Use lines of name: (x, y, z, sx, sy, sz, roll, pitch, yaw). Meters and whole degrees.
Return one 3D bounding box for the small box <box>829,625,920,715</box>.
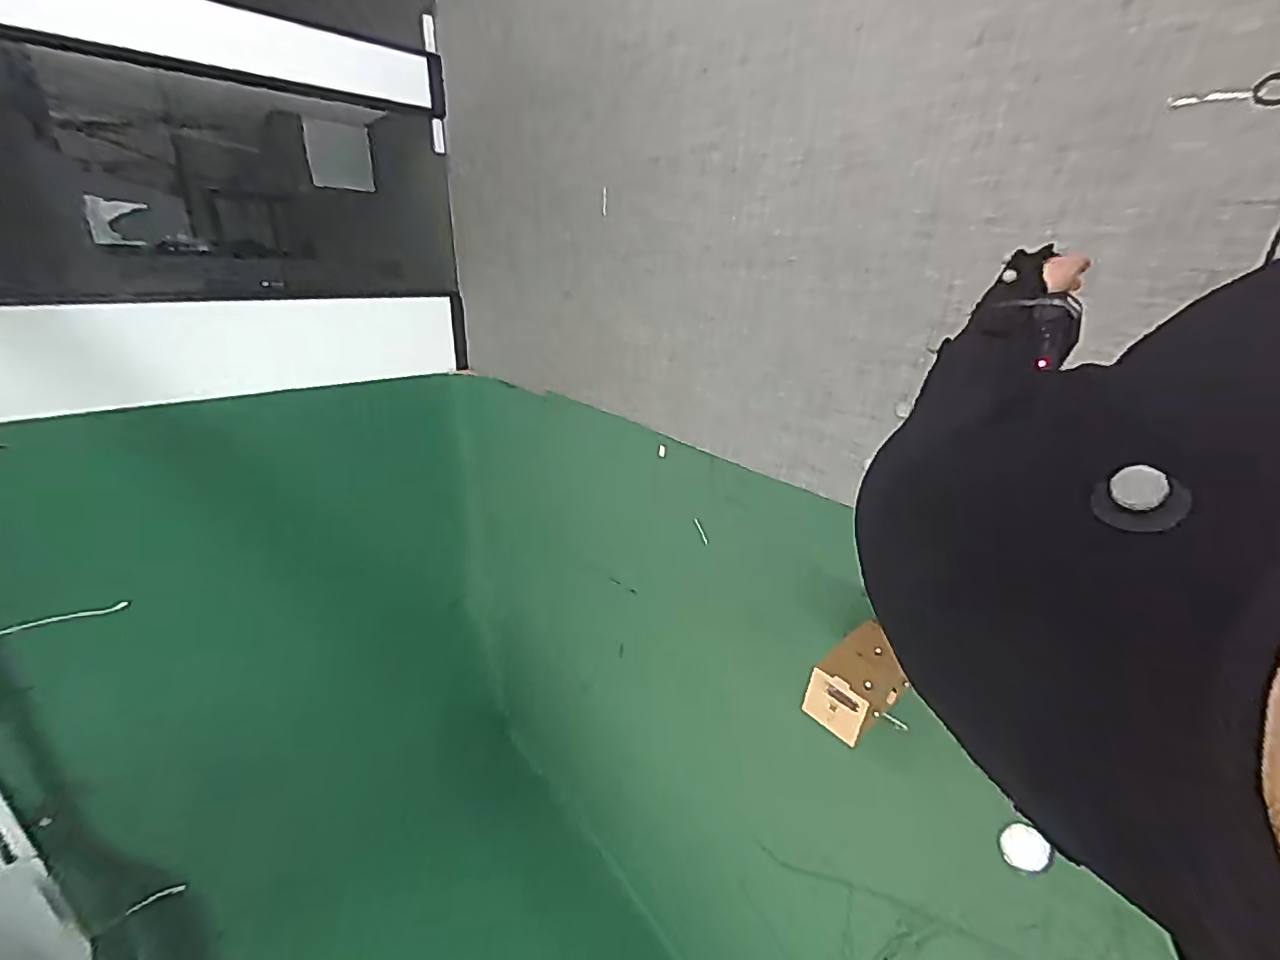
small box: (0.711, 0.565, 1.641, 0.179, 0.176, 0.168, 30, 124, 41)
